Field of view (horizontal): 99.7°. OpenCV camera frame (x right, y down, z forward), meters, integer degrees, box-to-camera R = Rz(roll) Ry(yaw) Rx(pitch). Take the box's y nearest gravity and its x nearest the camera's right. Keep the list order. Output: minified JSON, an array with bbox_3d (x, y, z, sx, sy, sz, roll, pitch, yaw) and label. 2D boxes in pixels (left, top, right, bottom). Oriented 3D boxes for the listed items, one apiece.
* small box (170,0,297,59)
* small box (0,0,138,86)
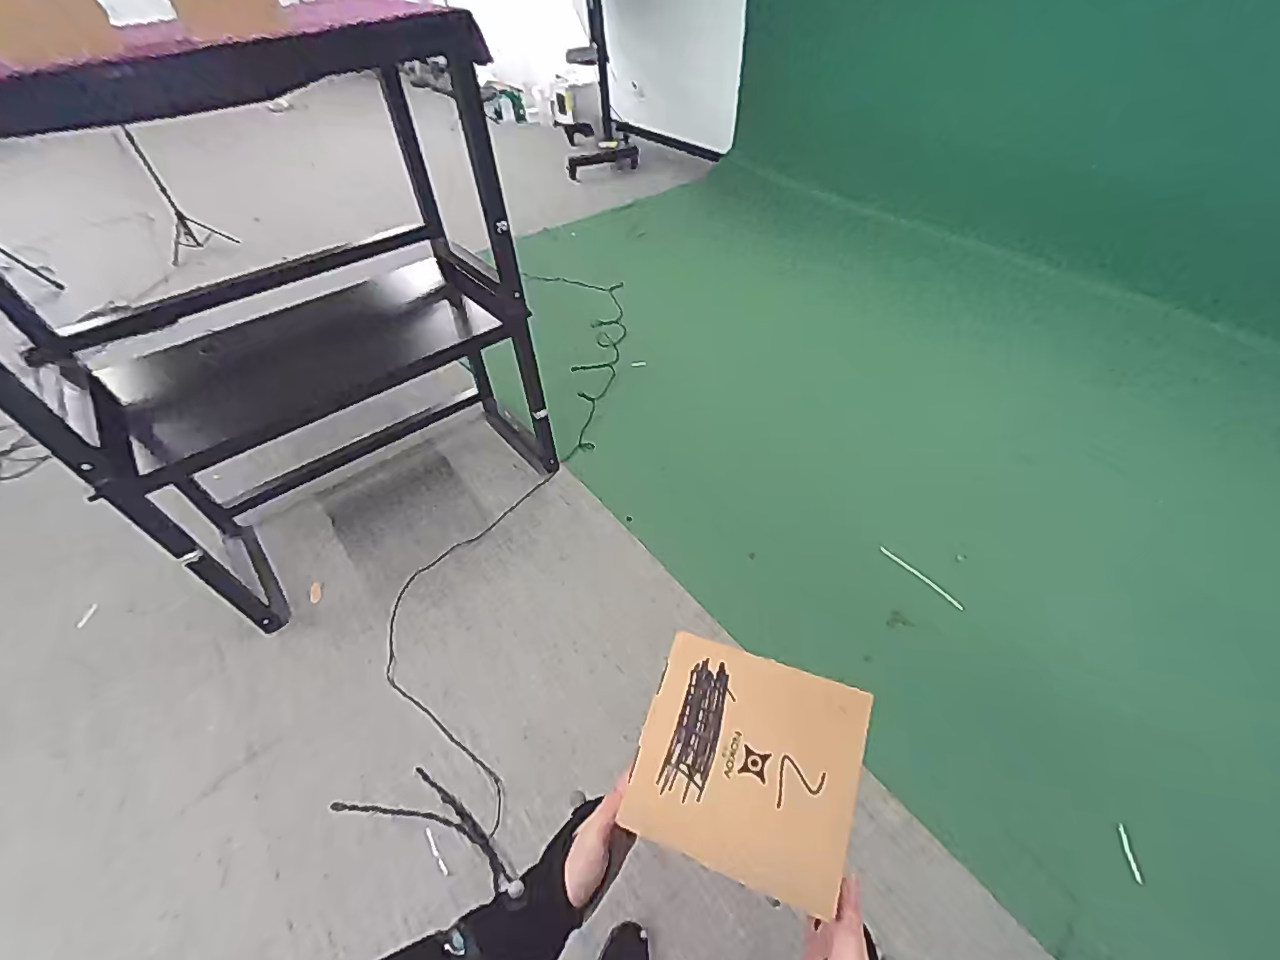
[{"bbox_3d":[-0.824,-0.954,1.066,0.179,0.176,0.168,-31,52,-21],"label":"small box"},{"bbox_3d":[-1.045,-0.815,0.952,0.179,0.176,0.168,-30,52,-23],"label":"small box"}]
